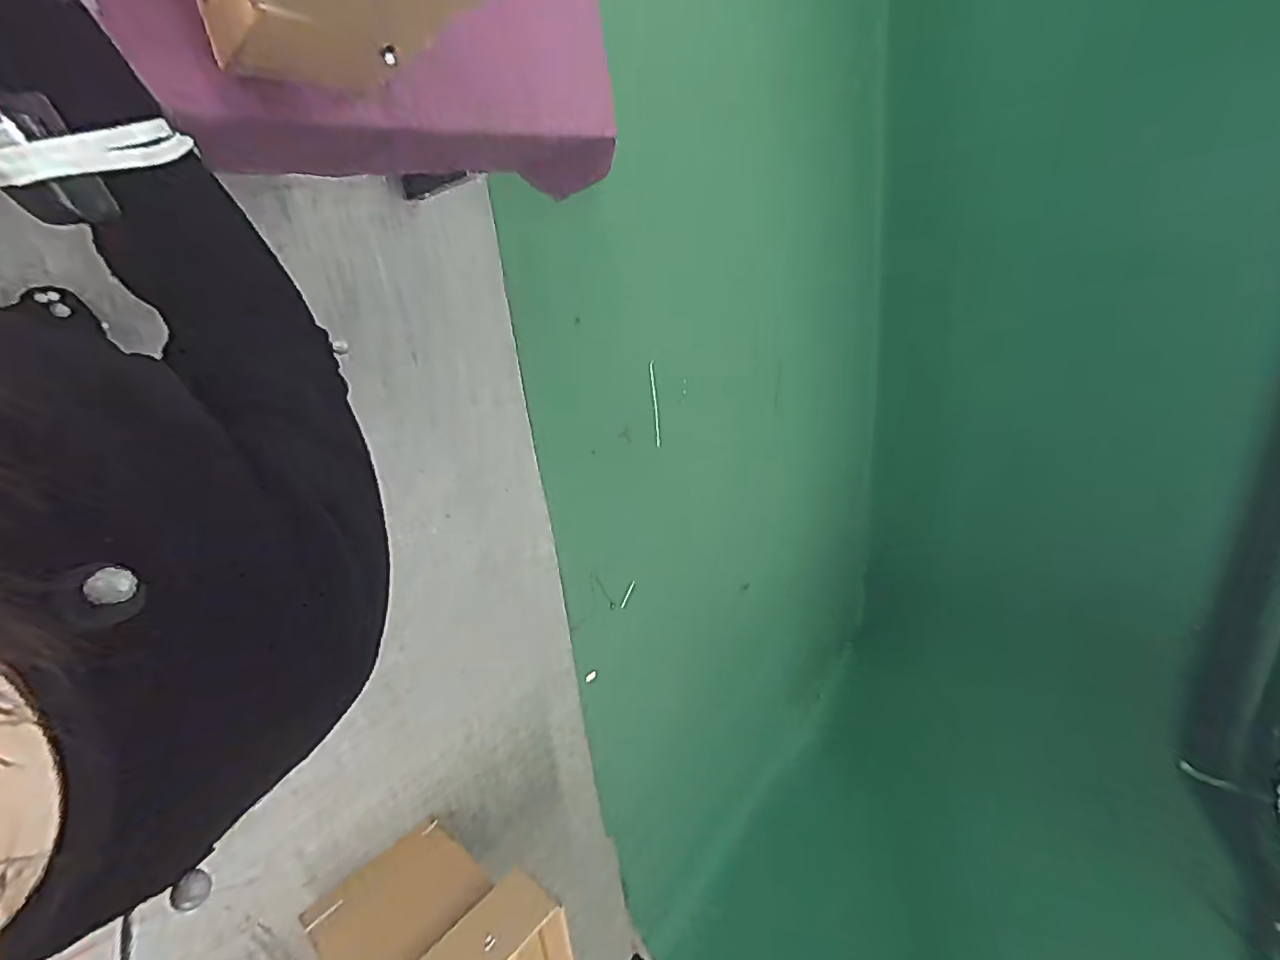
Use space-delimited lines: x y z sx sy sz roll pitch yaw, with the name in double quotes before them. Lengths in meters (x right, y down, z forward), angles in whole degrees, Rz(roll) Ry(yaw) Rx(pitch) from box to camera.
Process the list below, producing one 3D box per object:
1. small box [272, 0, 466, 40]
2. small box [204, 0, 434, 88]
"small box" -0.239 -0.514 0.457 0.179 0.176 0.168 -23 116 -43
"small box" -0.355 -0.542 0.570 0.179 0.176 0.168 -28 119 -42
